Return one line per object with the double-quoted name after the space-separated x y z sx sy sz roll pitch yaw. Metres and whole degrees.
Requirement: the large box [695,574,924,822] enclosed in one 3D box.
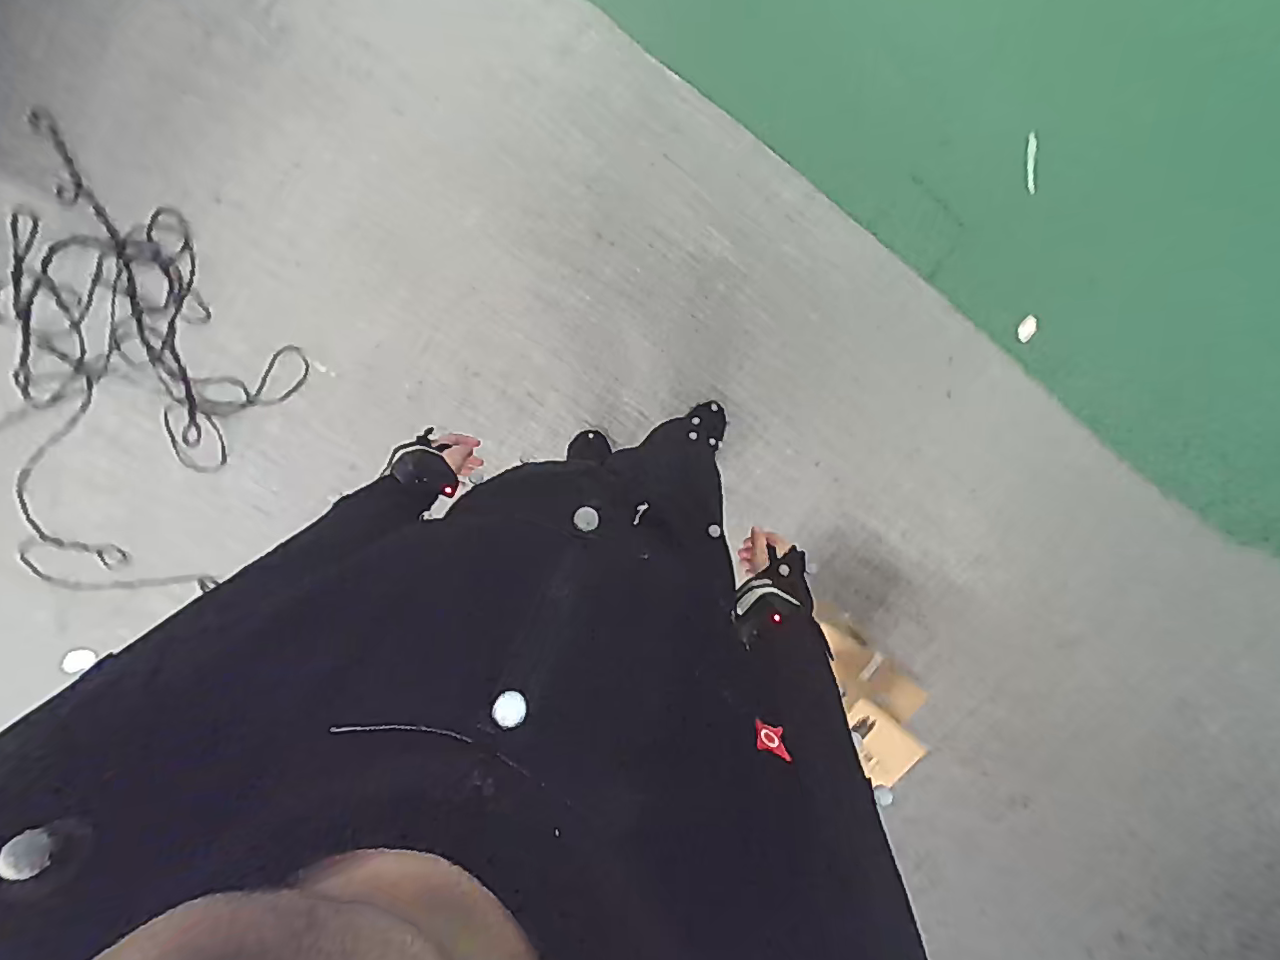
0.387 0.515 1.336 0.320 0.320 0.408 34 100 -8 "large box"
